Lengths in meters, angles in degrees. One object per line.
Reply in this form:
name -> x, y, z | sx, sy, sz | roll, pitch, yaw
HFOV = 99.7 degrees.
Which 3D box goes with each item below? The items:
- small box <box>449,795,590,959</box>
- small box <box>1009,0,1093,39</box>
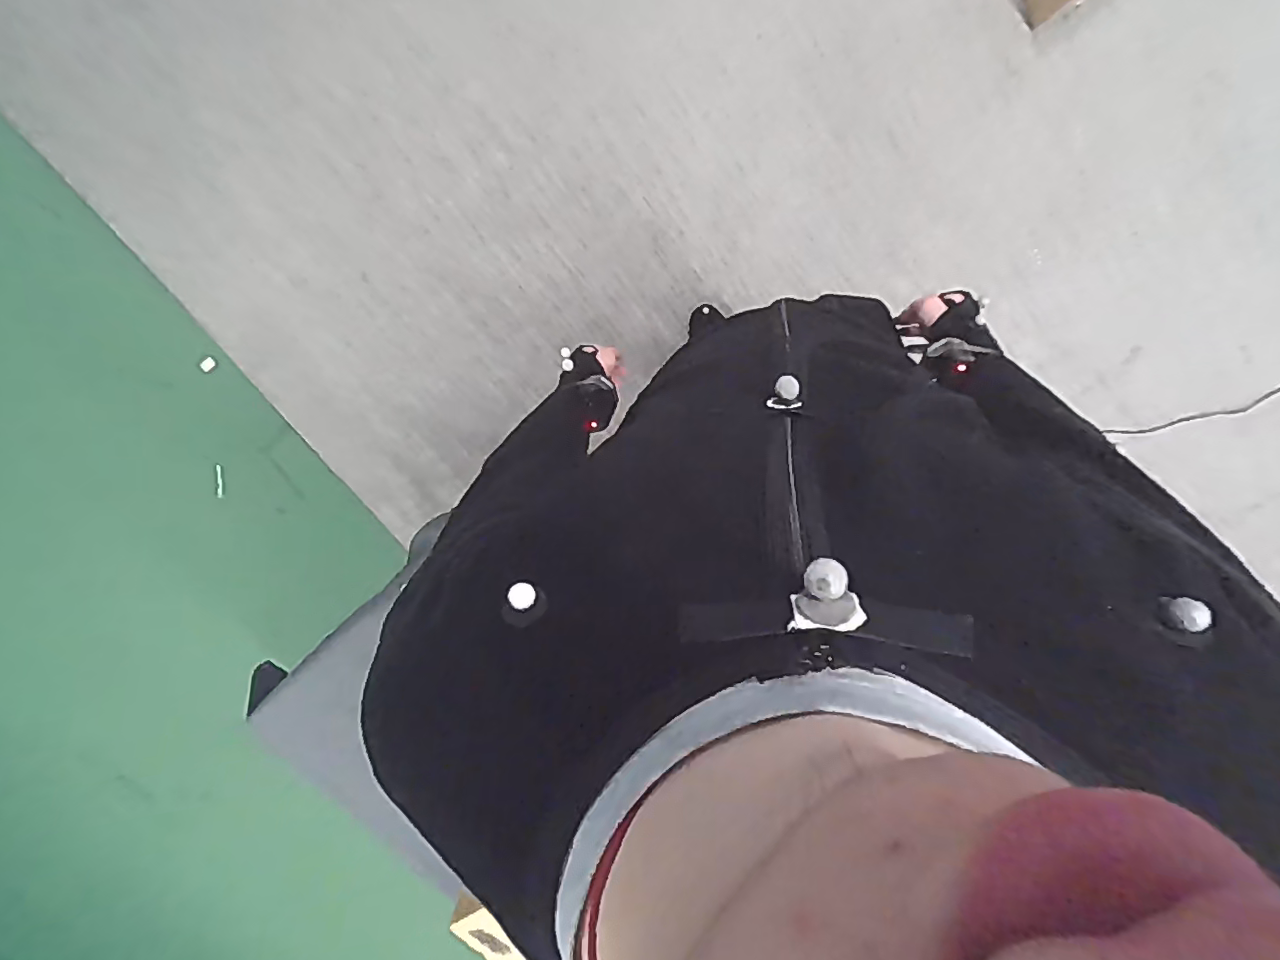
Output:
small box -> -0.215, 0.746, 1.018 | 0.179, 0.176, 0.168 | -38, 101, 14
small box -> 0.880, -1.070, 1.108 | 0.168, 0.176, 0.179 | -25, 105, 14
